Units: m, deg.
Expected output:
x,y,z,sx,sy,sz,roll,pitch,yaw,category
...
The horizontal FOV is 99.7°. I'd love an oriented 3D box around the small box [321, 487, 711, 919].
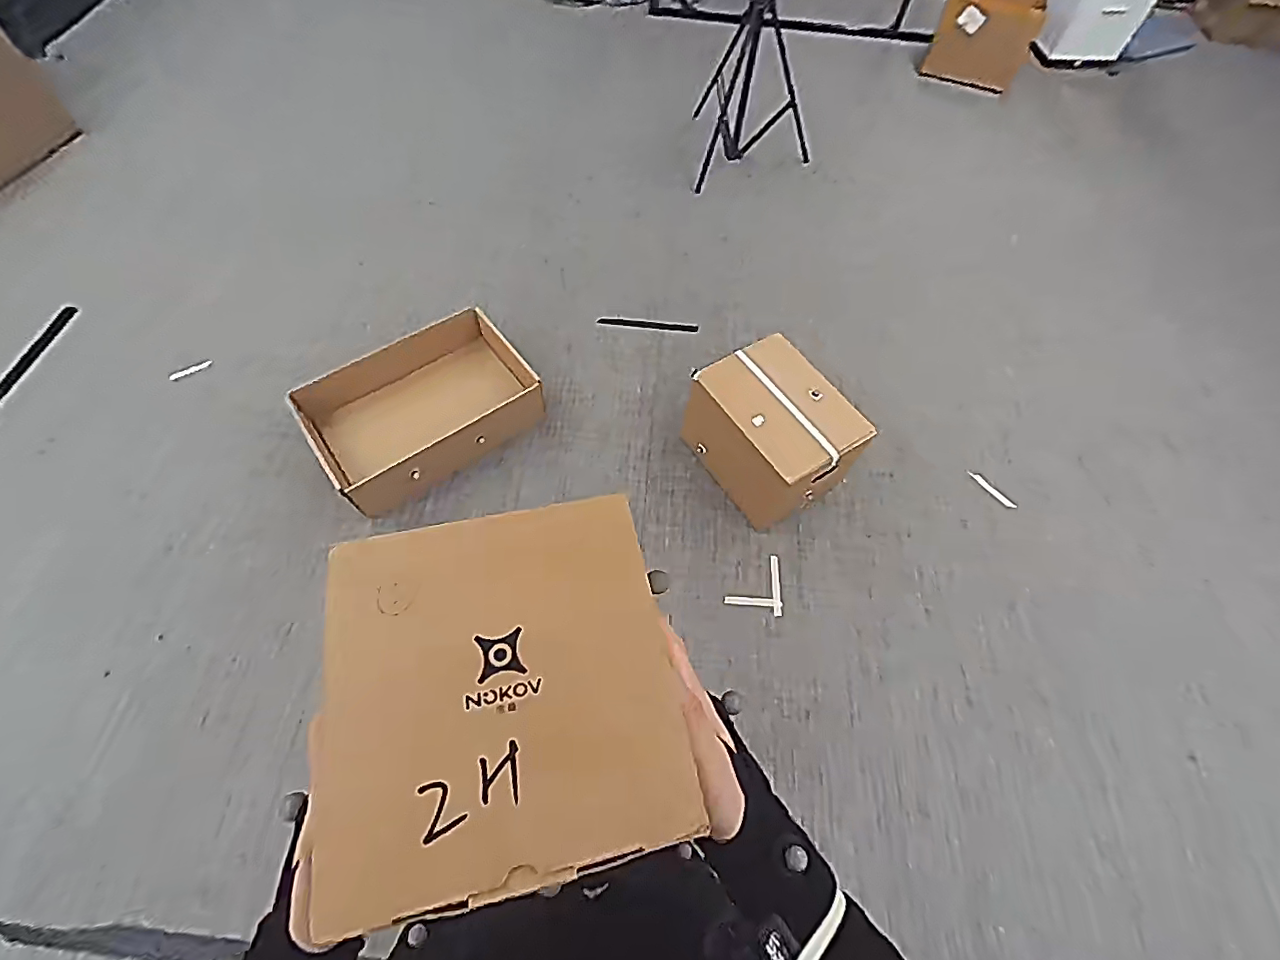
x,y,z,sx,sy,sz,roll,pitch,yaw,category
-0.070,0.130,0.336,0.168,0.176,0.179,-10,61,-9,small box
